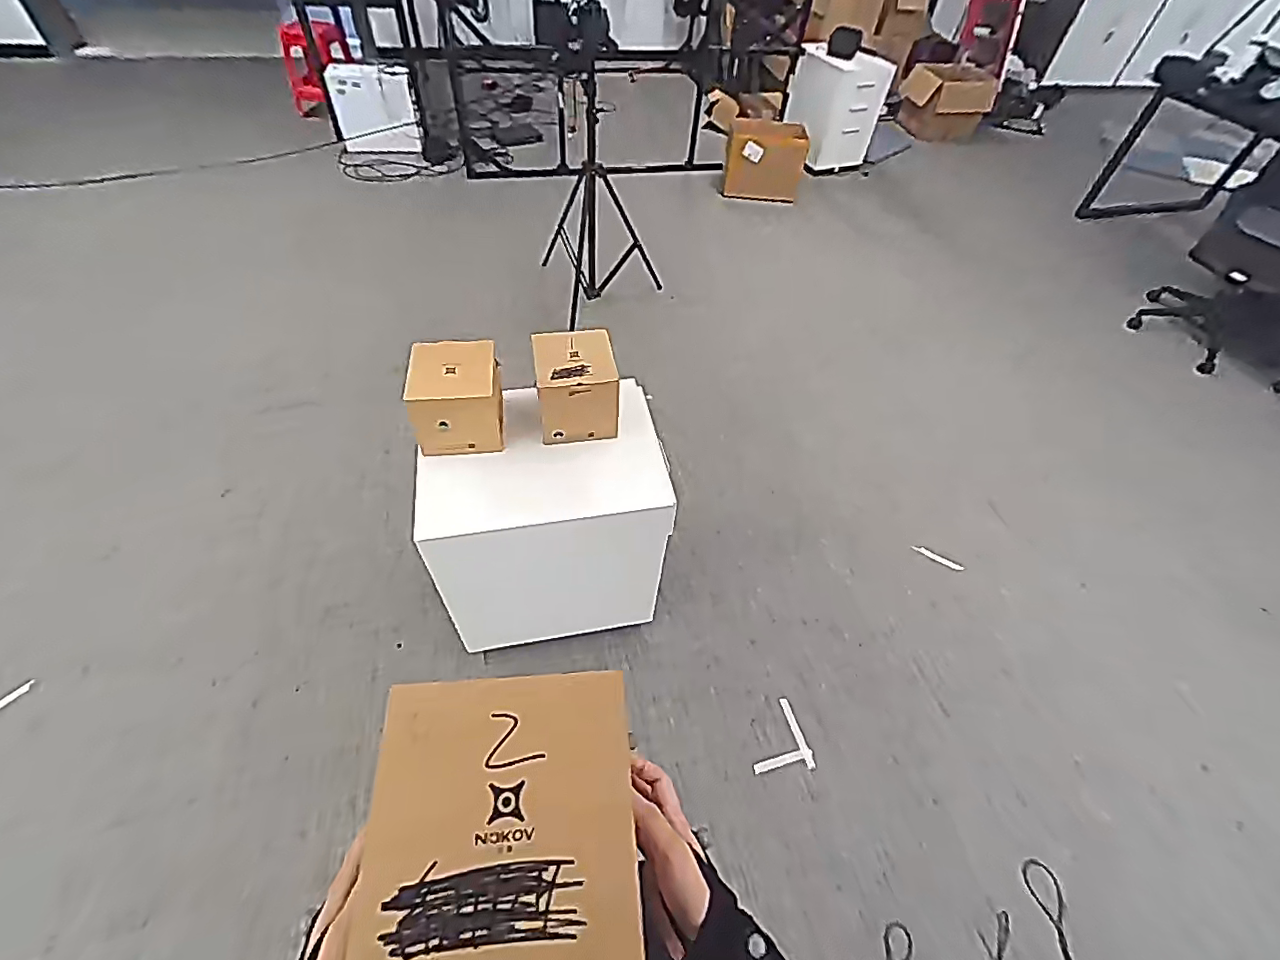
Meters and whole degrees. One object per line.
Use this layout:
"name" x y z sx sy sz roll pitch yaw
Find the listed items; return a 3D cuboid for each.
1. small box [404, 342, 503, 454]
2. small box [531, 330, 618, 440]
"small box" -0.381 -0.167 1.138 0.168 0.176 0.179 -5 52 -9
"small box" -0.142 -0.201 1.182 0.168 0.176 0.179 -7 52 -10
